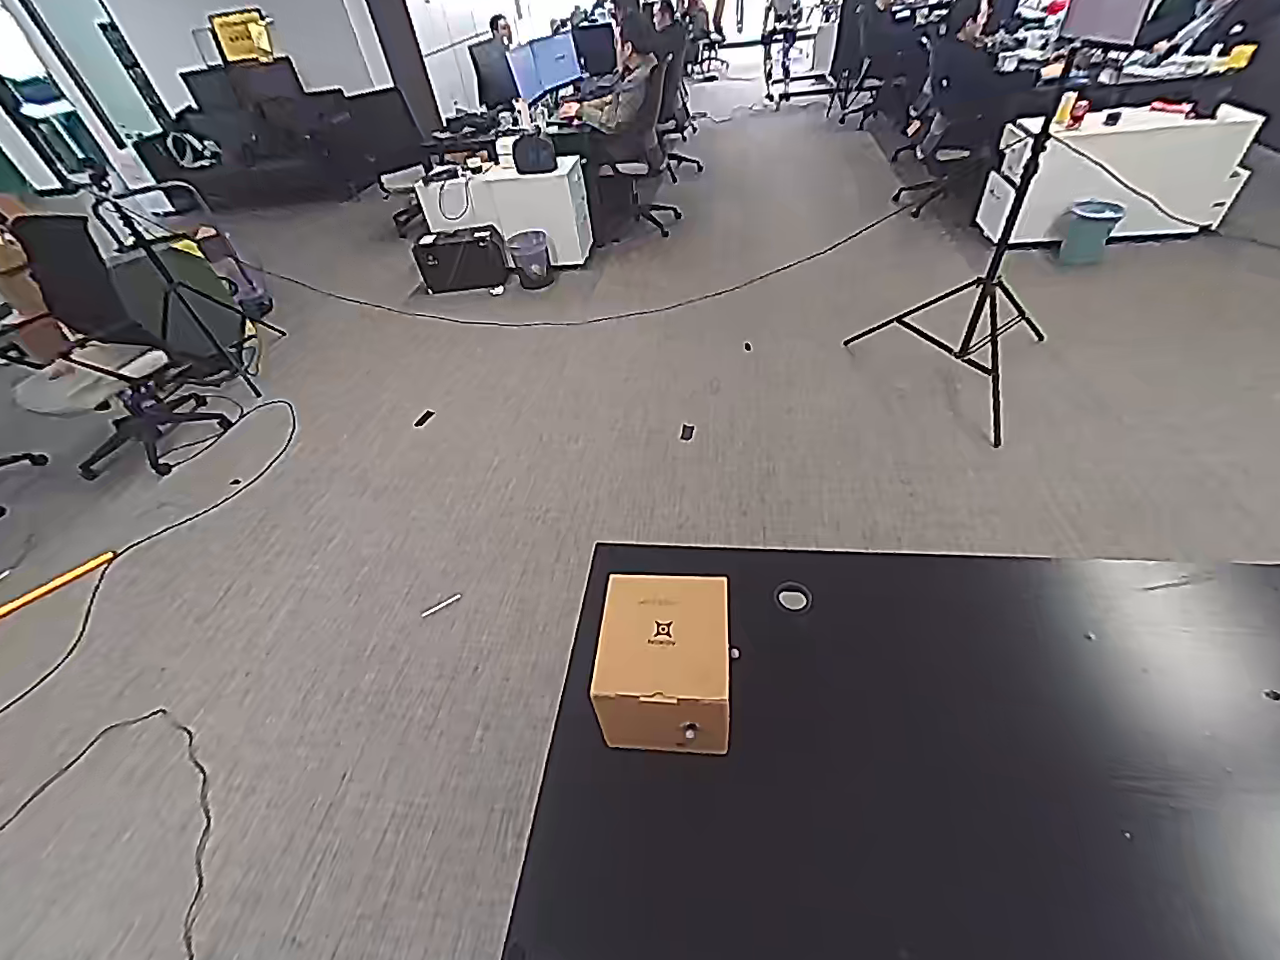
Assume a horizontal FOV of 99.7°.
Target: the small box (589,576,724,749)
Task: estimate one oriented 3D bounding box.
[{"bbox_3d":[0.033,0.254,0.753,0.168,0.176,0.179,0,44,7],"label":"small box"}]
